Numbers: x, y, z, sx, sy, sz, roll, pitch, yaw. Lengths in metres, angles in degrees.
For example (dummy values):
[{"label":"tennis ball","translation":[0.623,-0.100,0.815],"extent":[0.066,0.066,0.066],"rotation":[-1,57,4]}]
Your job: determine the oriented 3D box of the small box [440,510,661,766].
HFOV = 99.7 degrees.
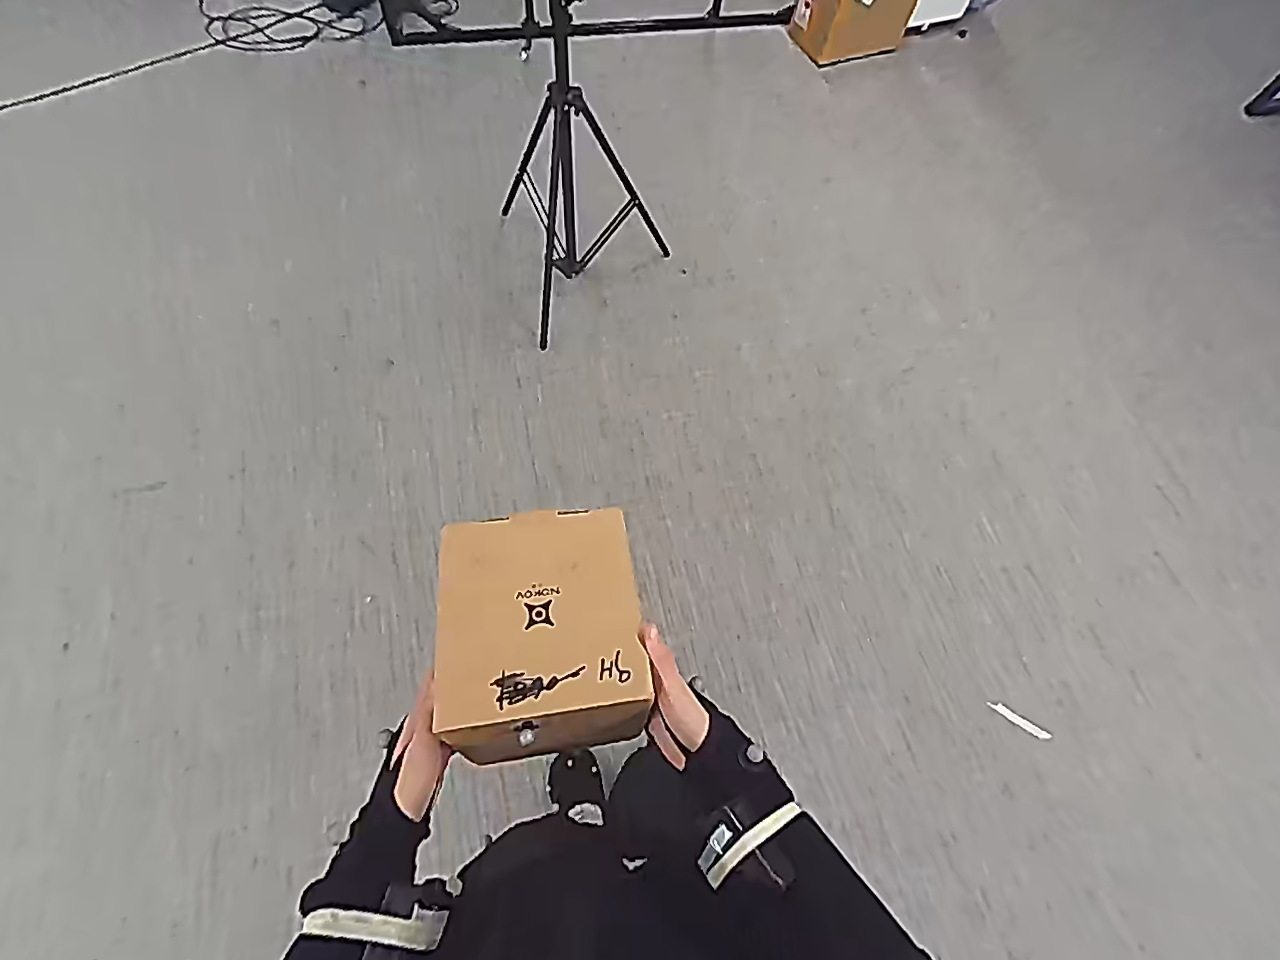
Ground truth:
[{"label":"small box","translation":[-0.083,0.151,0.512],"extent":[0.168,0.176,0.179],"rotation":[-6,55,-9]}]
